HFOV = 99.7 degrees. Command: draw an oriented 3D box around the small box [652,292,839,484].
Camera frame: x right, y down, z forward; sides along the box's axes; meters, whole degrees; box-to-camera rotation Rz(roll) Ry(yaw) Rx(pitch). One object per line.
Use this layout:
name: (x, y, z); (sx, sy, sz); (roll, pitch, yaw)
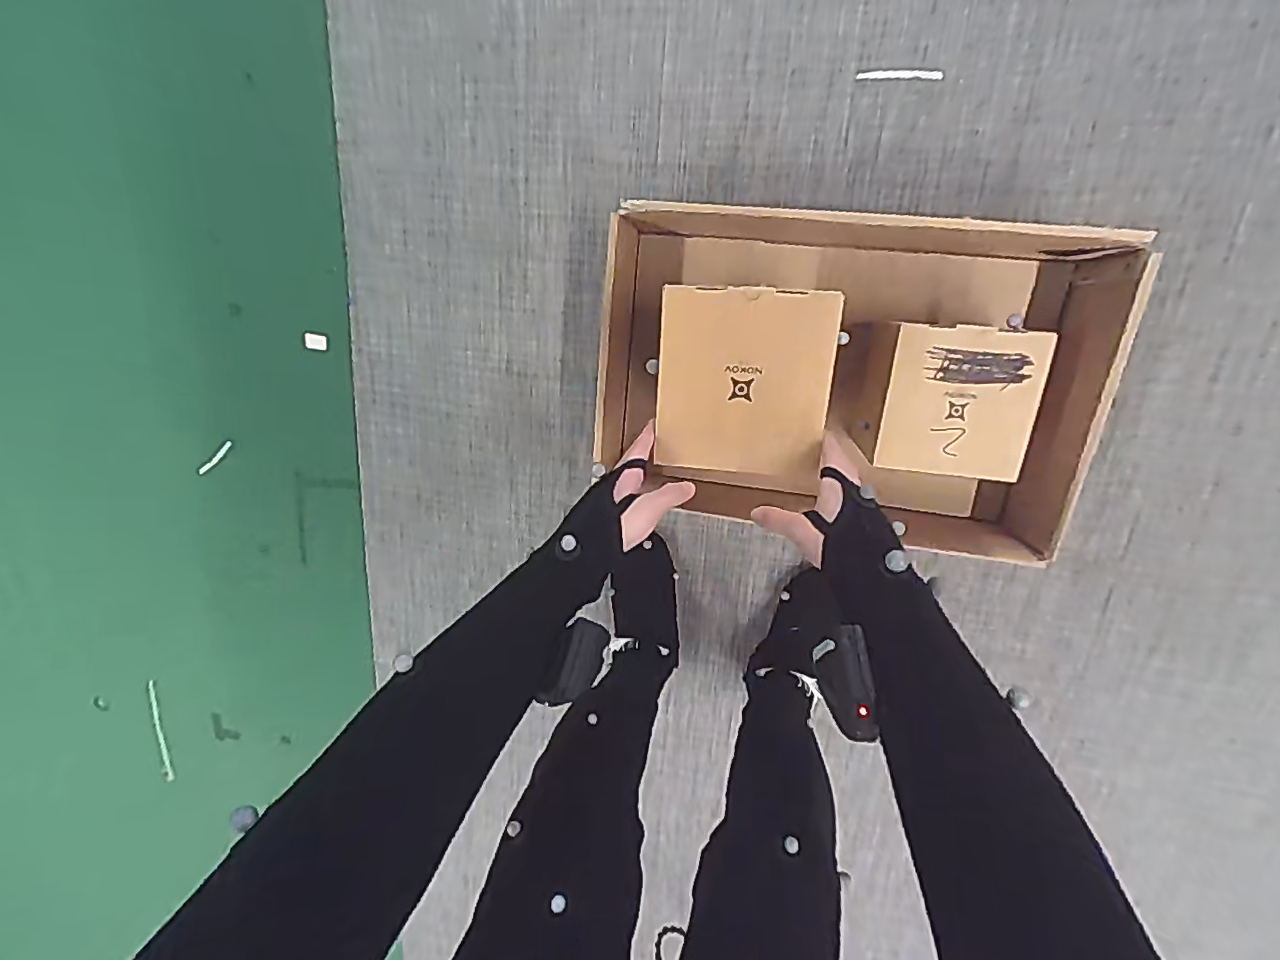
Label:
small box: (0.112, -0.106, 0.597); (0.168, 0.176, 0.179); (5, 104, 10)
